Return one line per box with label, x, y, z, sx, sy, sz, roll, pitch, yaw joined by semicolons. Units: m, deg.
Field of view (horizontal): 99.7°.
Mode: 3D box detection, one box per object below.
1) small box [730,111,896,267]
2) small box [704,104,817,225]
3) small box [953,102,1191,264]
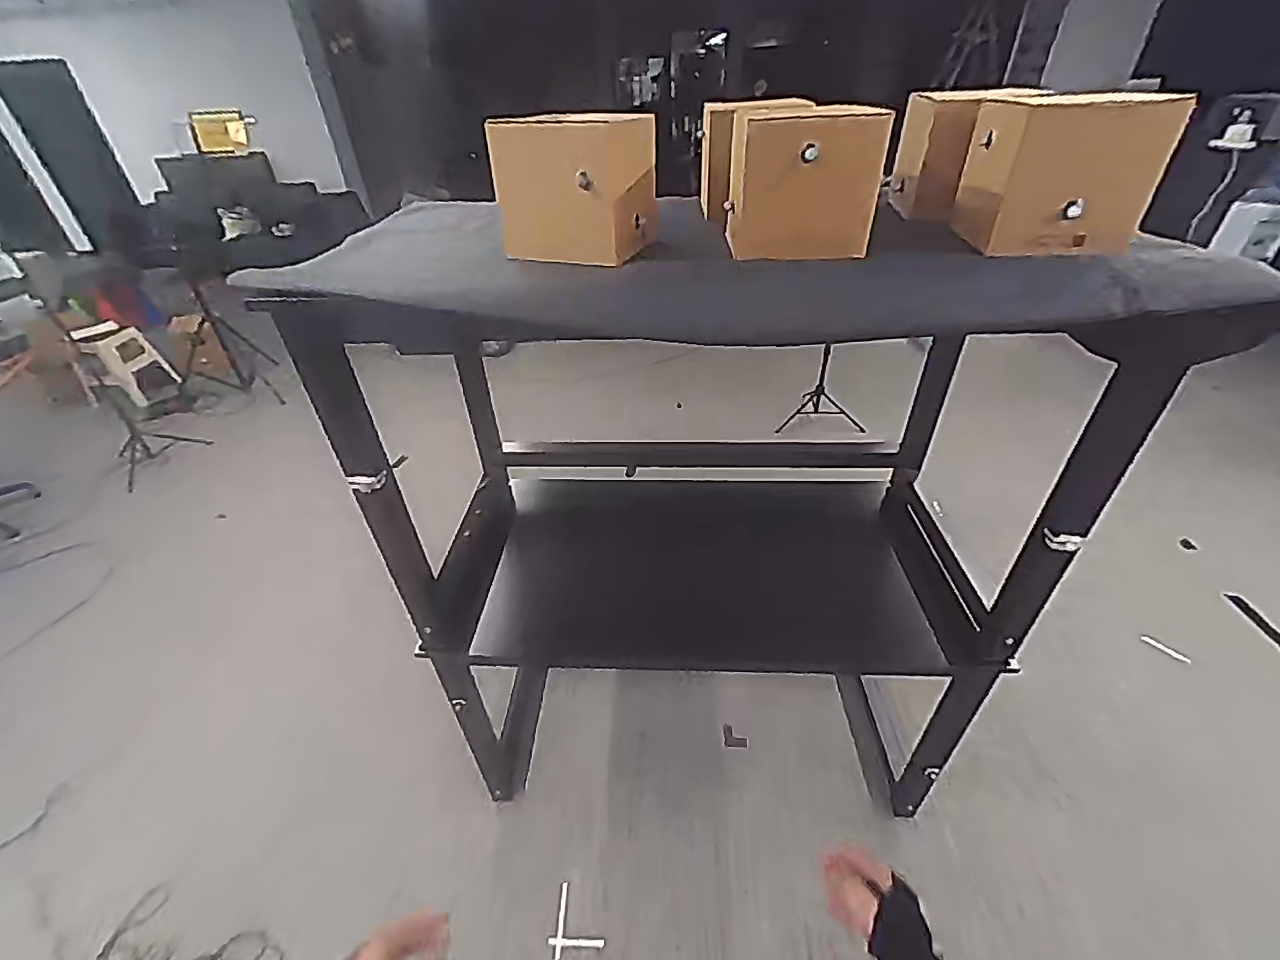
small box;0.224;-0.405;0.753;0.179;0.176;0.168;0;37;4
small box;0.201;-0.556;0.955;0.168;0.176;0.179;0;37;4
small box;0.547;-0.399;0.723;0.168;0.176;0.179;4;37;10
